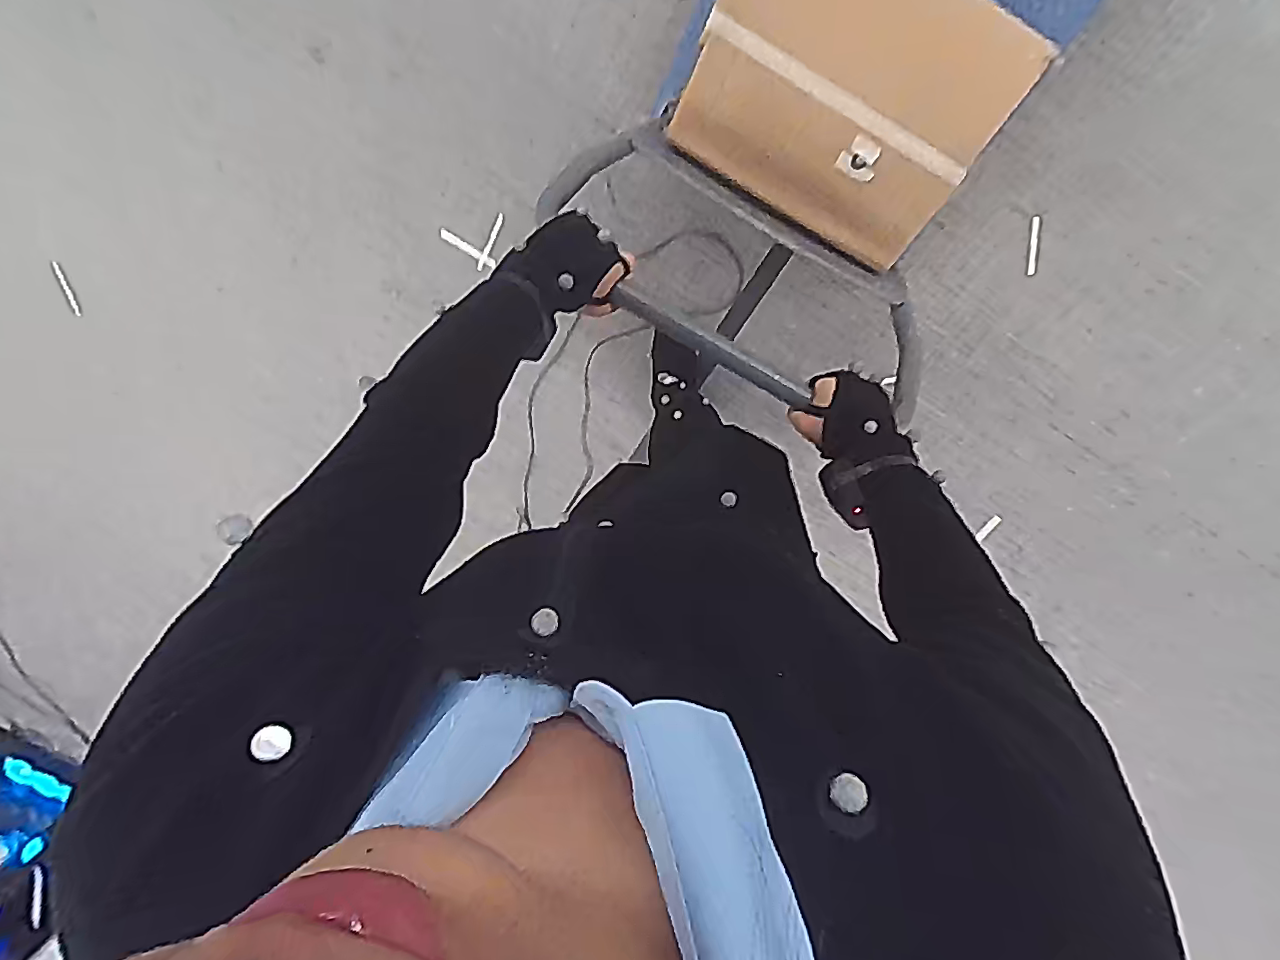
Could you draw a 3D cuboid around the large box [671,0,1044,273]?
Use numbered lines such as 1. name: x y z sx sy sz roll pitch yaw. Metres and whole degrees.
1. large box: 0.315 -0.612 0.884 0.408 0.320 0.320 29 128 -5
